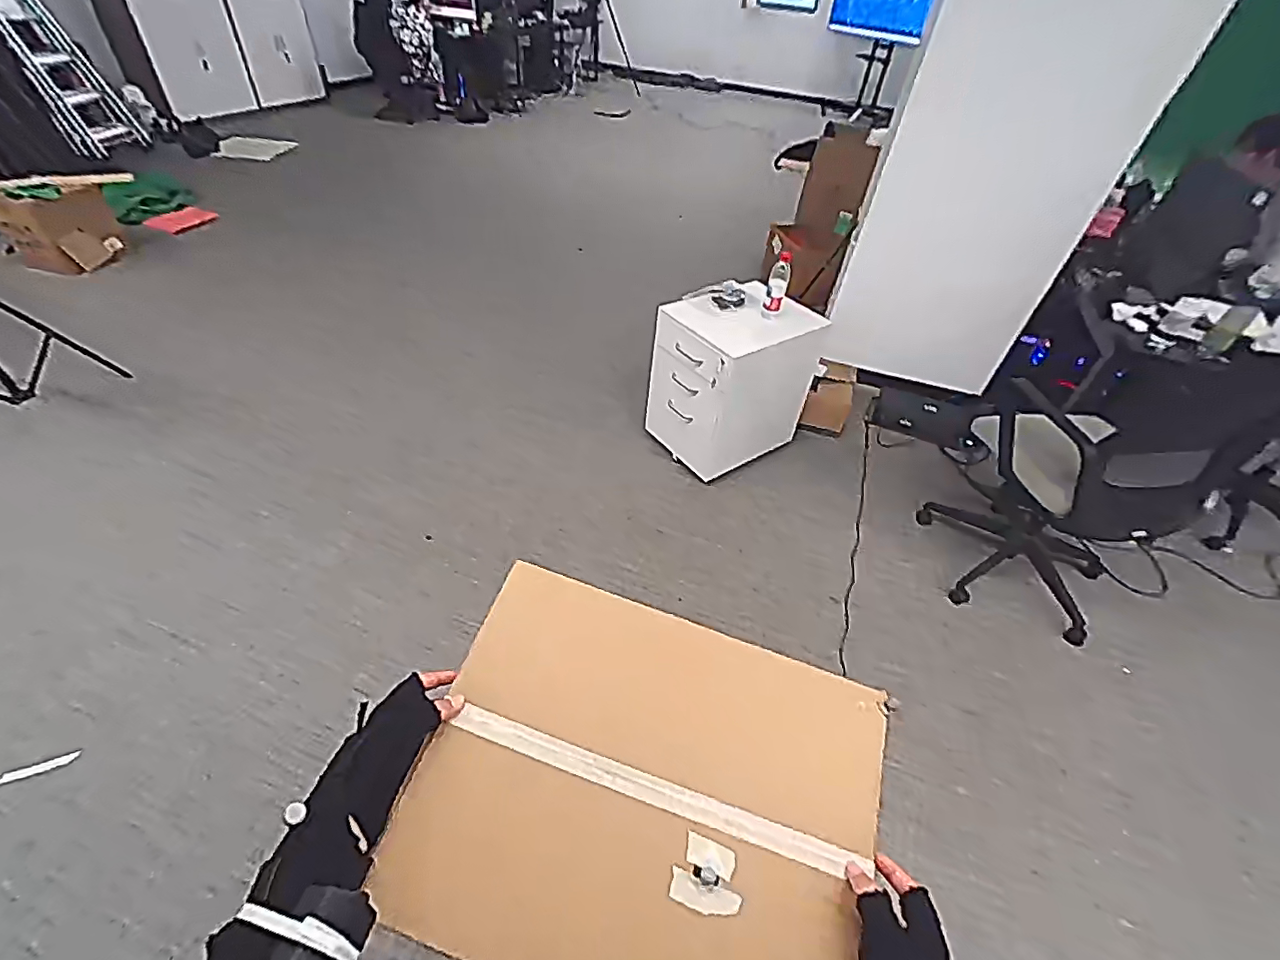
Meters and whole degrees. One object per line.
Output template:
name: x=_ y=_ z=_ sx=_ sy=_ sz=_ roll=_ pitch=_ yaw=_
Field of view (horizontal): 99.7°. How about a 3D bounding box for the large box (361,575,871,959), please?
large box: x=-0.010 y=0.360 z=0.622 sx=0.408 sy=0.320 sz=0.320 roll=19 pitch=59 yaw=5
